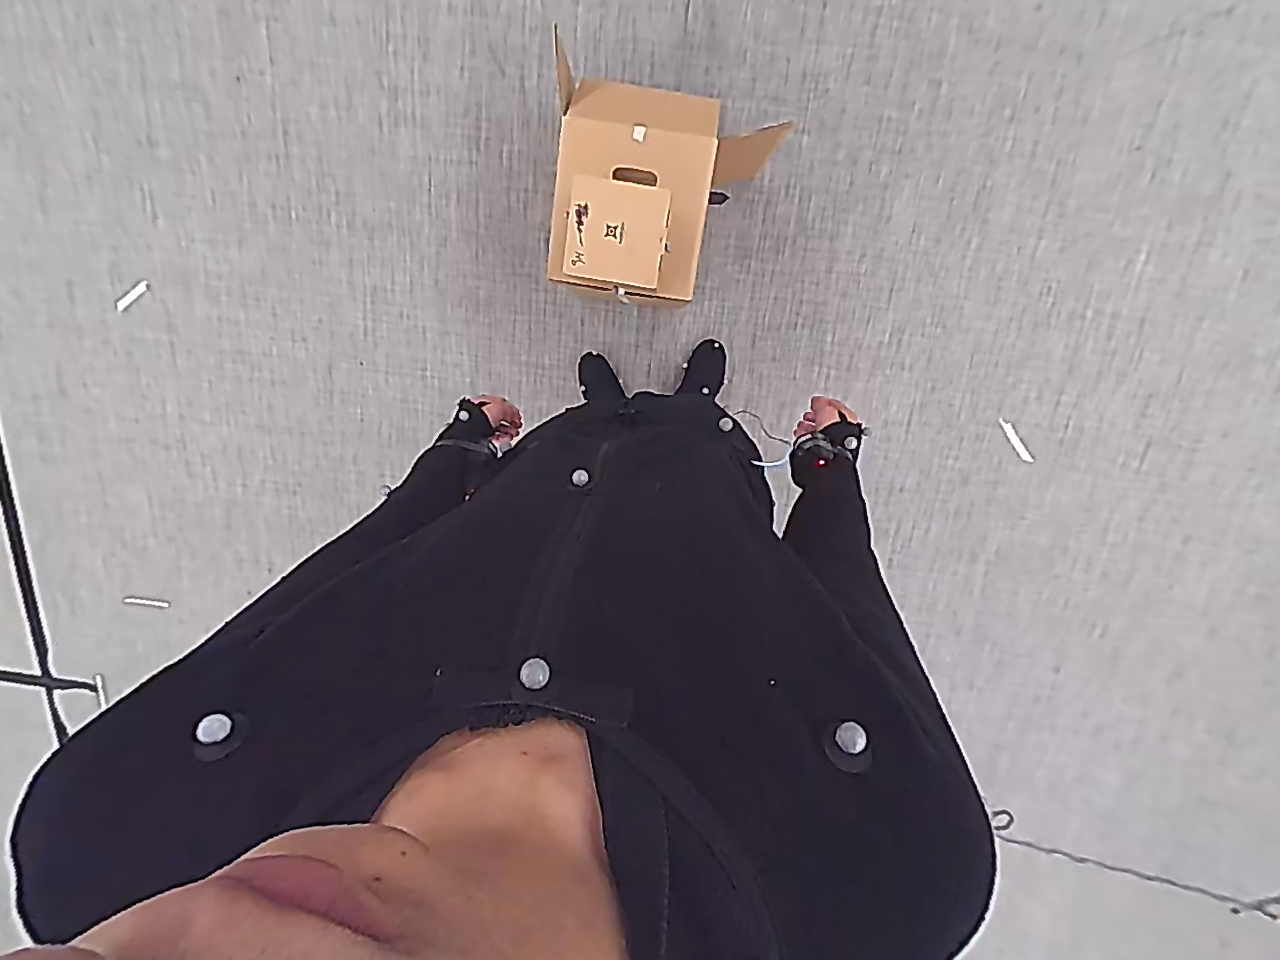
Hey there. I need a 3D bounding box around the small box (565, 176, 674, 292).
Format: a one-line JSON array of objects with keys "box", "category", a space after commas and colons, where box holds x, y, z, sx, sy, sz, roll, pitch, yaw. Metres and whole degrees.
[{"box": [-0.036, -0.462, 1.040, 0.179, 0.176, 0.168, 10, 107, -1], "category": "small box"}]
